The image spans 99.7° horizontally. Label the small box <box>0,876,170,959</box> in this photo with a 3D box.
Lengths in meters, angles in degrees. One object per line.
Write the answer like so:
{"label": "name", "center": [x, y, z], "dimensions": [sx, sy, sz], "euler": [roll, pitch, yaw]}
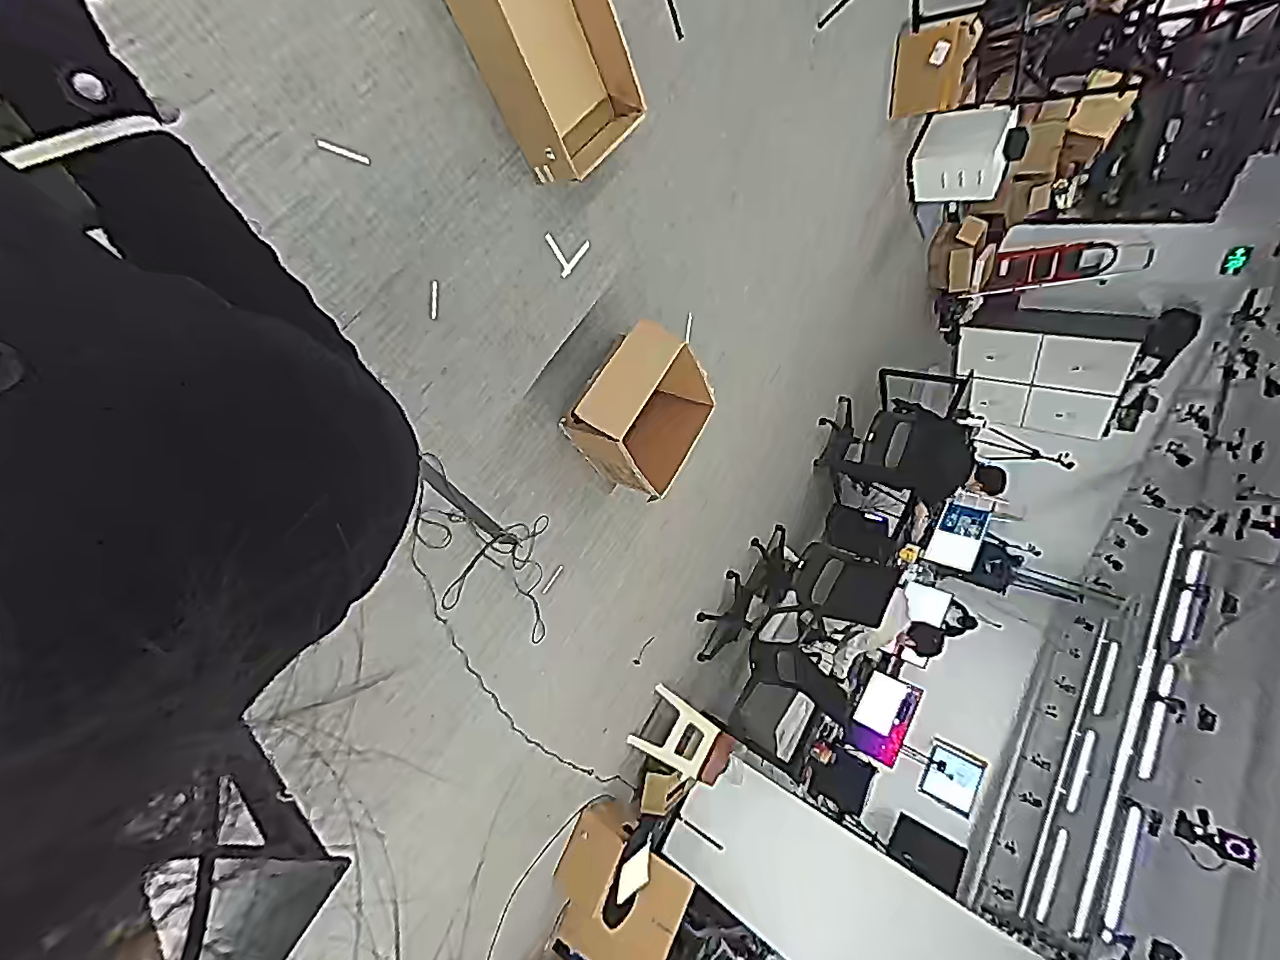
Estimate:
{"label": "small box", "center": [-0.677, 0.568, 0.586], "dimensions": [0.179, 0.176, 0.168], "euler": [-61, 143, -13]}
